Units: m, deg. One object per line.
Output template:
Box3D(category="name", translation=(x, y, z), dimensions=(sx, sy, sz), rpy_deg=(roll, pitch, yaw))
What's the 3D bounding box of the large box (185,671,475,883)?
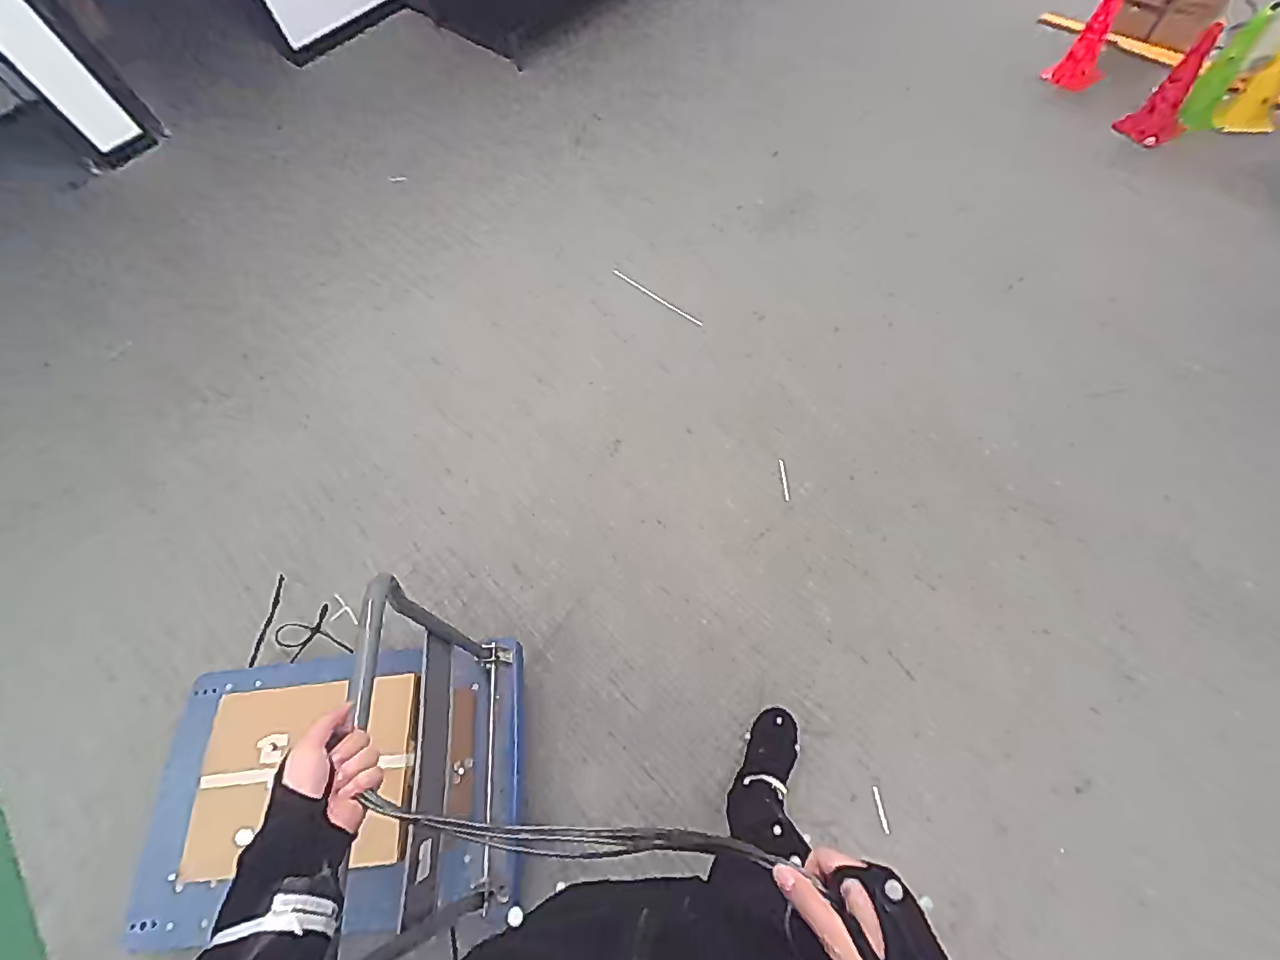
Box3D(category="large box", translation=(-0.595, 0.604, 1.129), dimensions=(0.408, 0.320, 0.320), rpy_deg=(-8, 61, 4))
